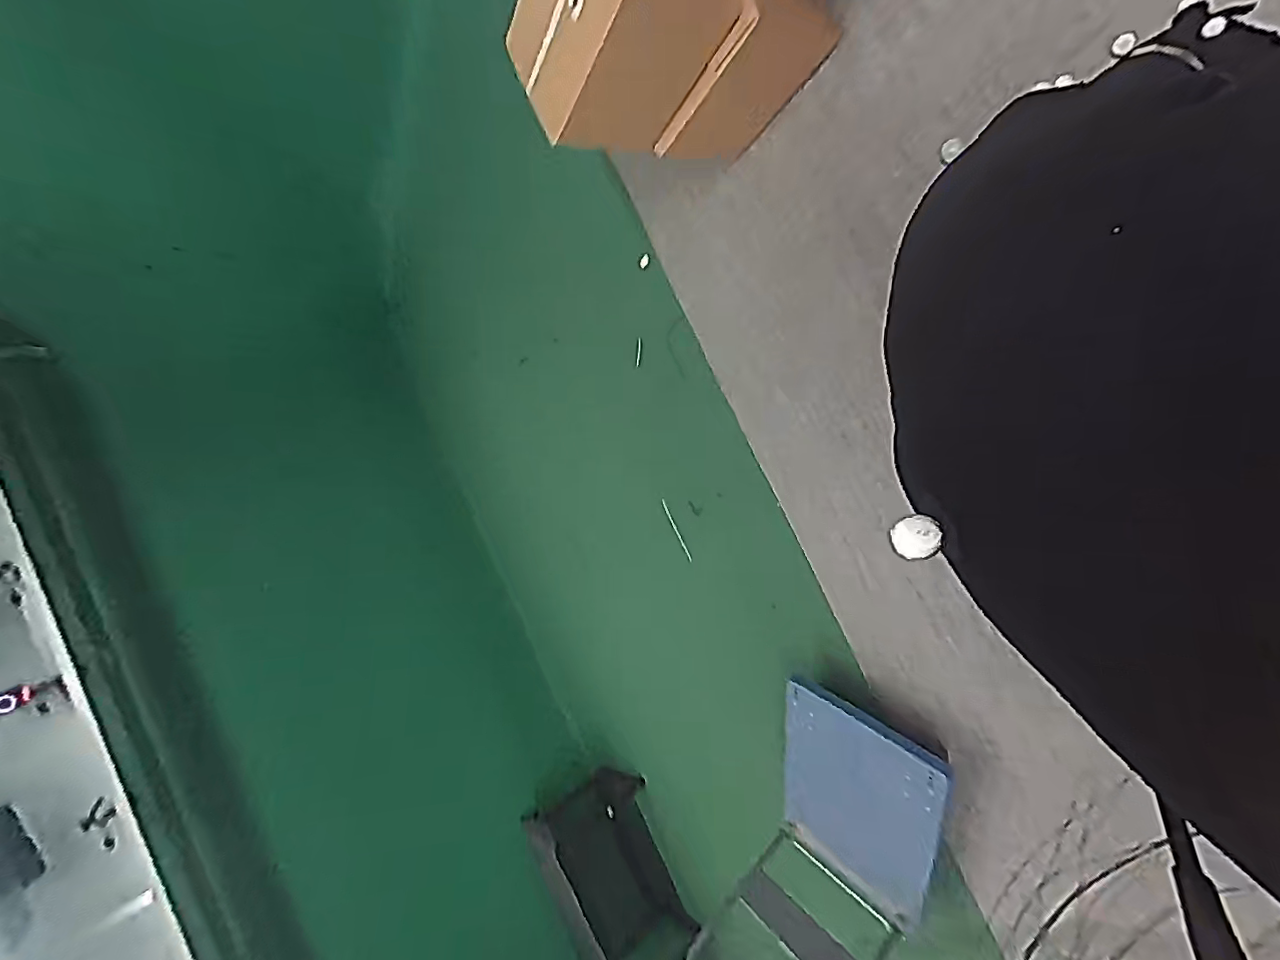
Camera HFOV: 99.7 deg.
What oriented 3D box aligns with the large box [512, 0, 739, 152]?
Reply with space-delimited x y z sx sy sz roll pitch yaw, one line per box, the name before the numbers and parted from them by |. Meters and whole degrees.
large box | -0.050 -1.060 1.260 0.408 0.320 0.320 -28 82 54
